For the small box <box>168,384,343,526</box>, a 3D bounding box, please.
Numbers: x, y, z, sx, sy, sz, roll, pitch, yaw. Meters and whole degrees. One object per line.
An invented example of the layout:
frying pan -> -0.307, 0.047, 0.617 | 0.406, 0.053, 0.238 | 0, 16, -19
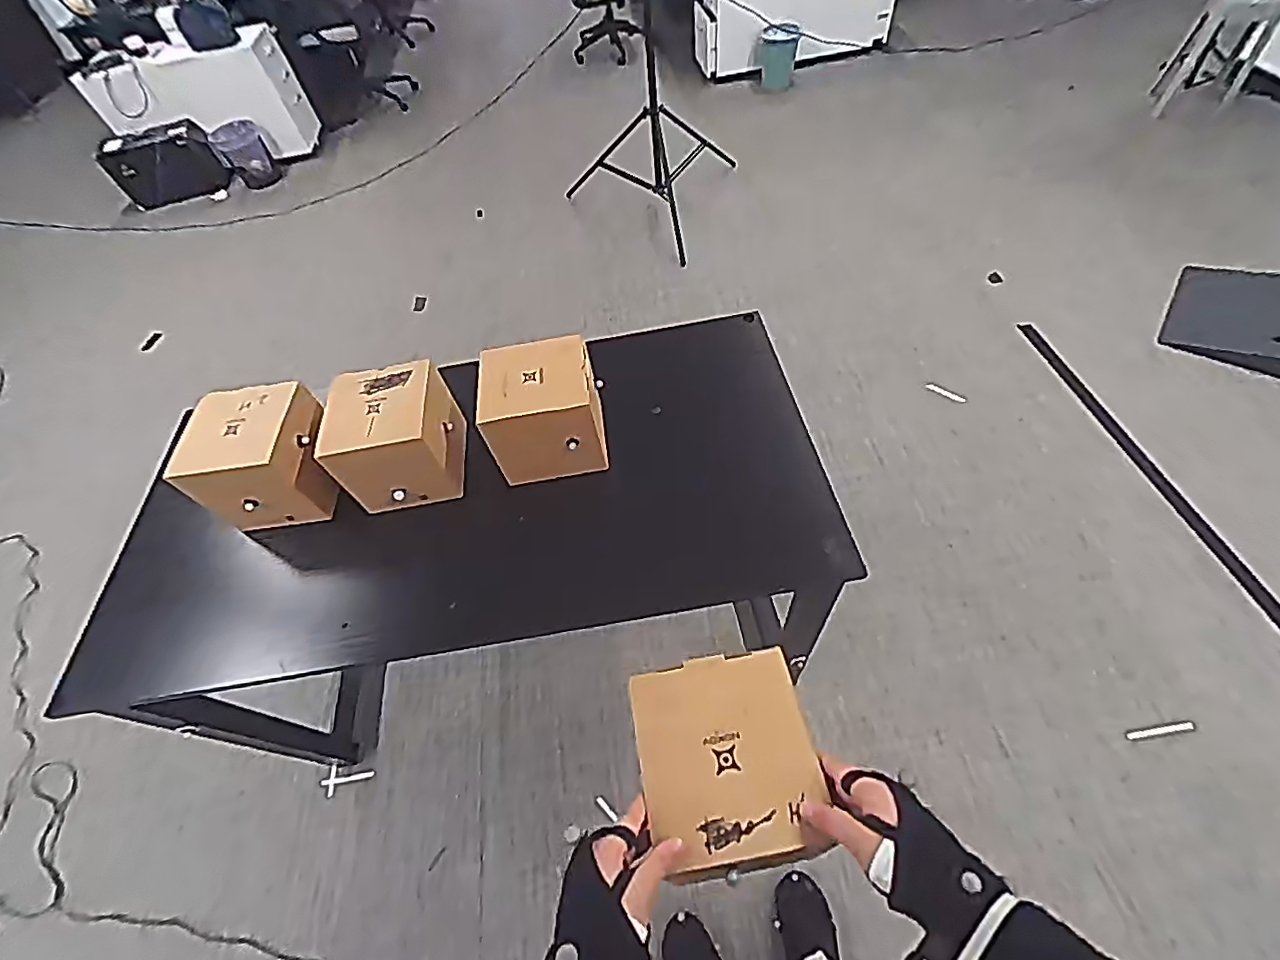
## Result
small box -> -0.627, -0.035, 0.919 | 0.168, 0.176, 0.179 | -7, 55, 1

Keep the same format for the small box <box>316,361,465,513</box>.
small box -> -0.405, -0.070, 0.913 | 0.168, 0.176, 0.179 | -11, 56, -1

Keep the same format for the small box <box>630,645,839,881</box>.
small box -> 0.089, 0.304, 0.578 | 0.168, 0.176, 0.179 | -12, 51, 0

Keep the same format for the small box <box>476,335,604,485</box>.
small box -> -0.160, -0.114, 0.914 | 0.179, 0.176, 0.168 | -11, 54, 1
